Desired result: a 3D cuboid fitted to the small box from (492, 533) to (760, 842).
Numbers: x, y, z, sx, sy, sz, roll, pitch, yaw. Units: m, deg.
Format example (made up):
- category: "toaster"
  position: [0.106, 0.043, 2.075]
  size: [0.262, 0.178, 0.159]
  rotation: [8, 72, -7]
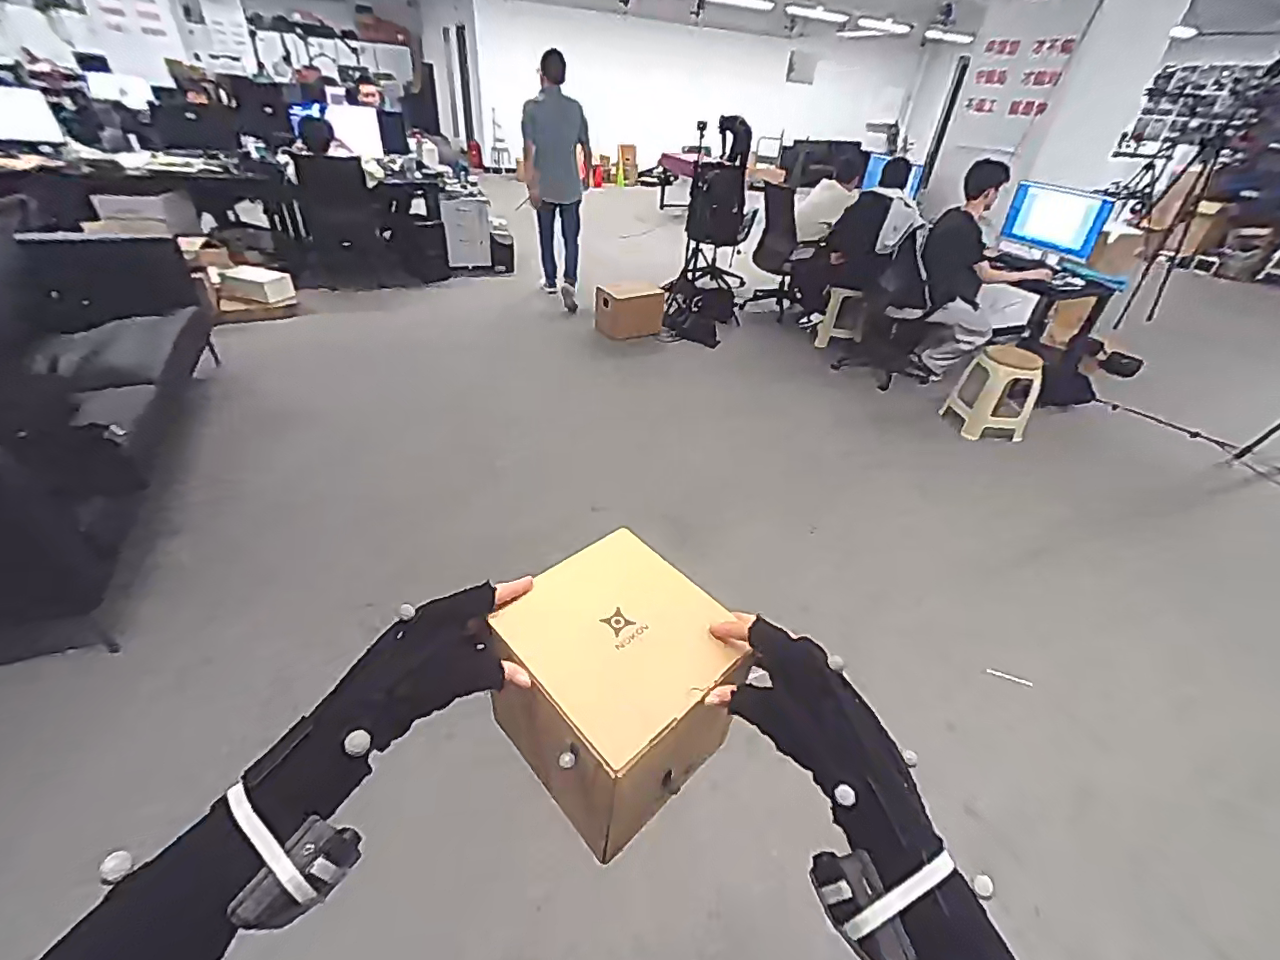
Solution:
- category: "small box"
  position: [-0.021, 0.188, 0.509]
  size: [0.168, 0.176, 0.179]
  rotation: [-26, 49, -36]
